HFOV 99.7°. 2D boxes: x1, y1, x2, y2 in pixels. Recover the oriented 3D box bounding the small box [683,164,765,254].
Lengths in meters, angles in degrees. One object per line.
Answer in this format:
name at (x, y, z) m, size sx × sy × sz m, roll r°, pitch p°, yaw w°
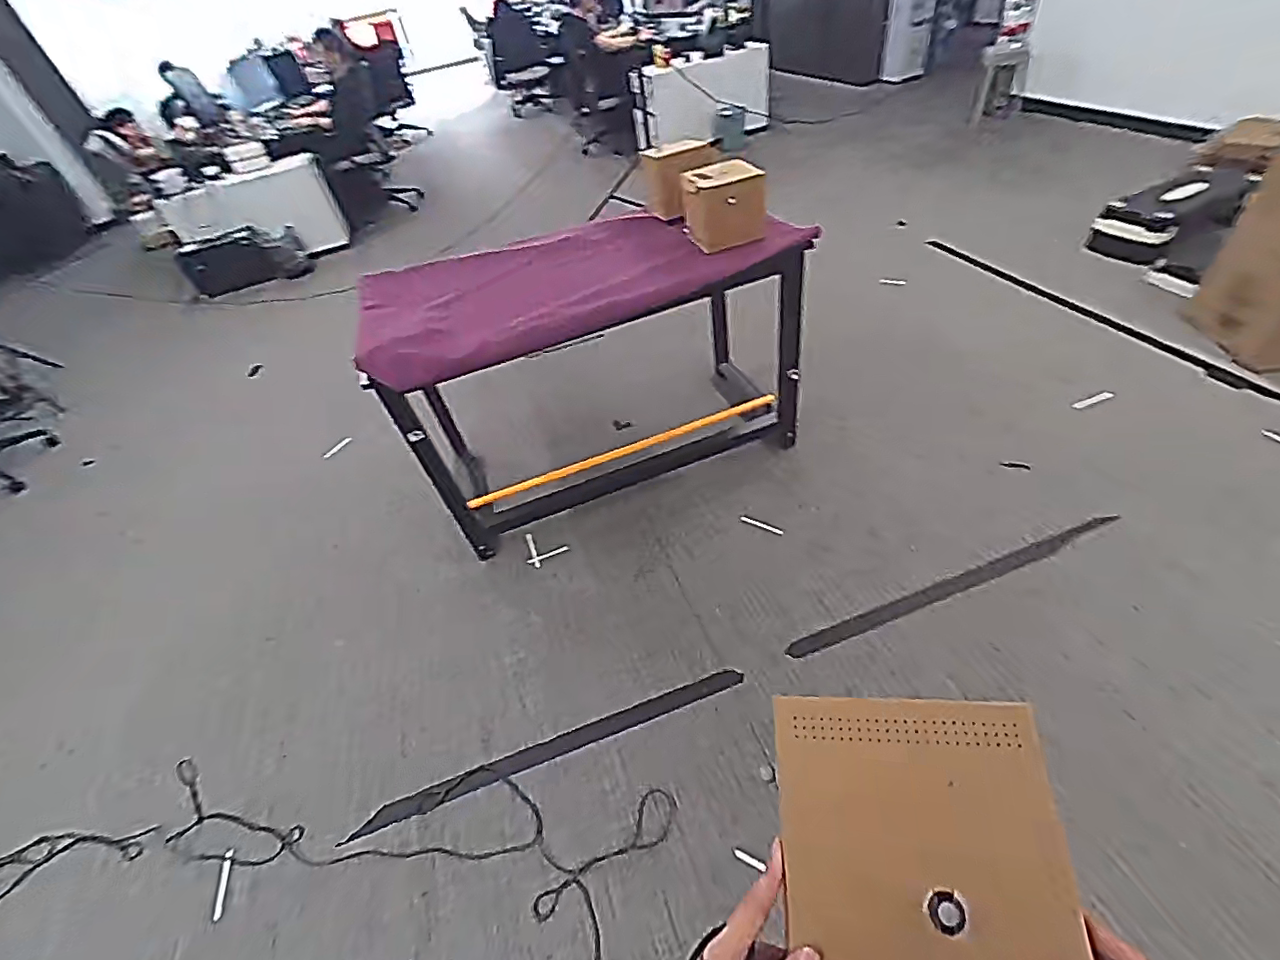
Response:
small box at (0.233, -0.743, 1.488) m, size 0.179 × 0.176 × 0.168 m, roll -18°, pitch 43°, yaw -6°
